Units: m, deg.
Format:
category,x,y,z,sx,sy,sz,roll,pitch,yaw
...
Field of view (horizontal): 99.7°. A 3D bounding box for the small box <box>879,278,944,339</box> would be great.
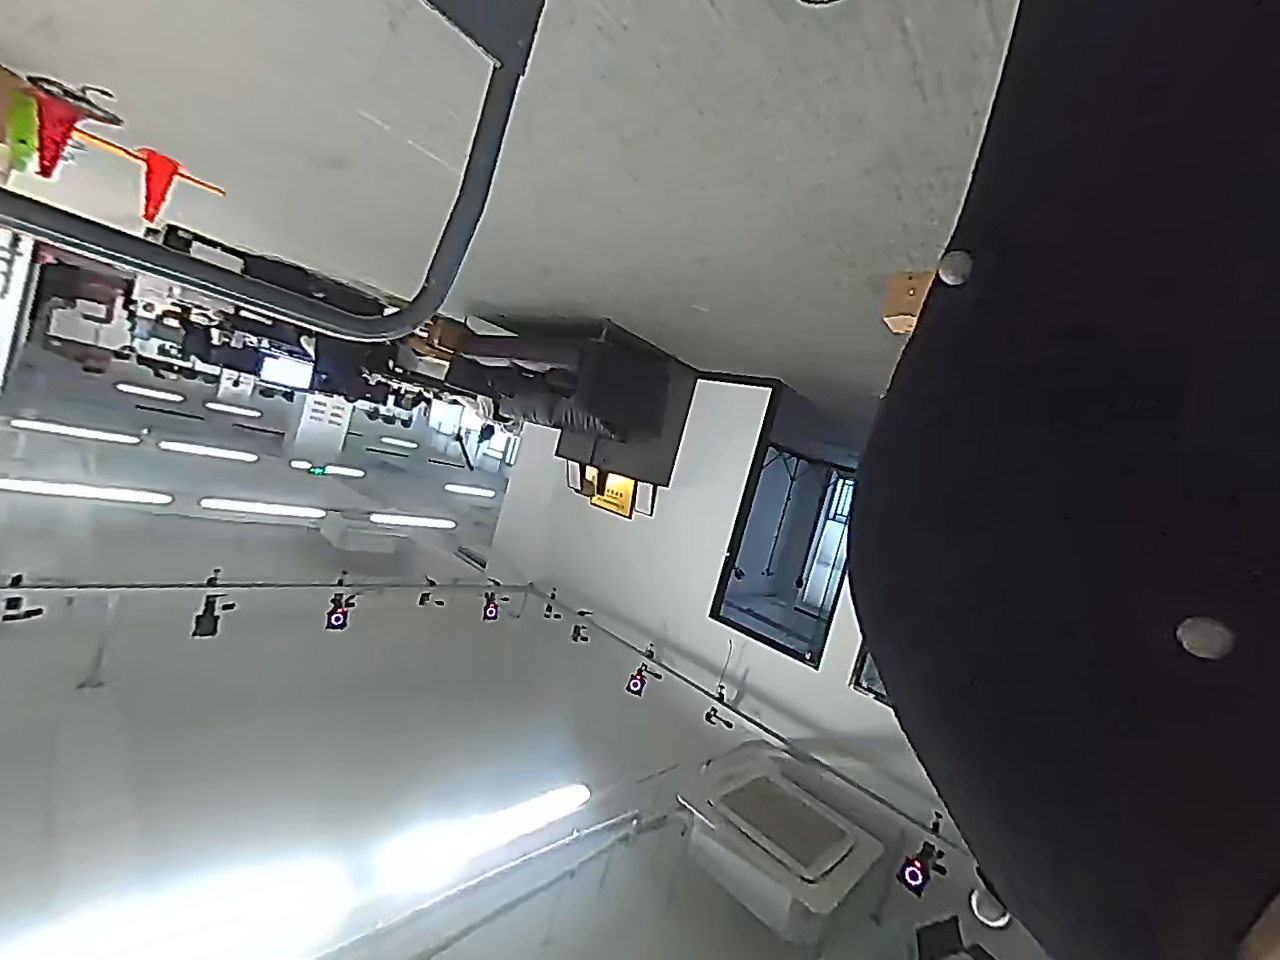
category,x,y,z,sx,sy,sz,roll,pitch,yaw
small box,1.022,-0.644,2.029,0.168,0.176,0.179,17,-178,38
